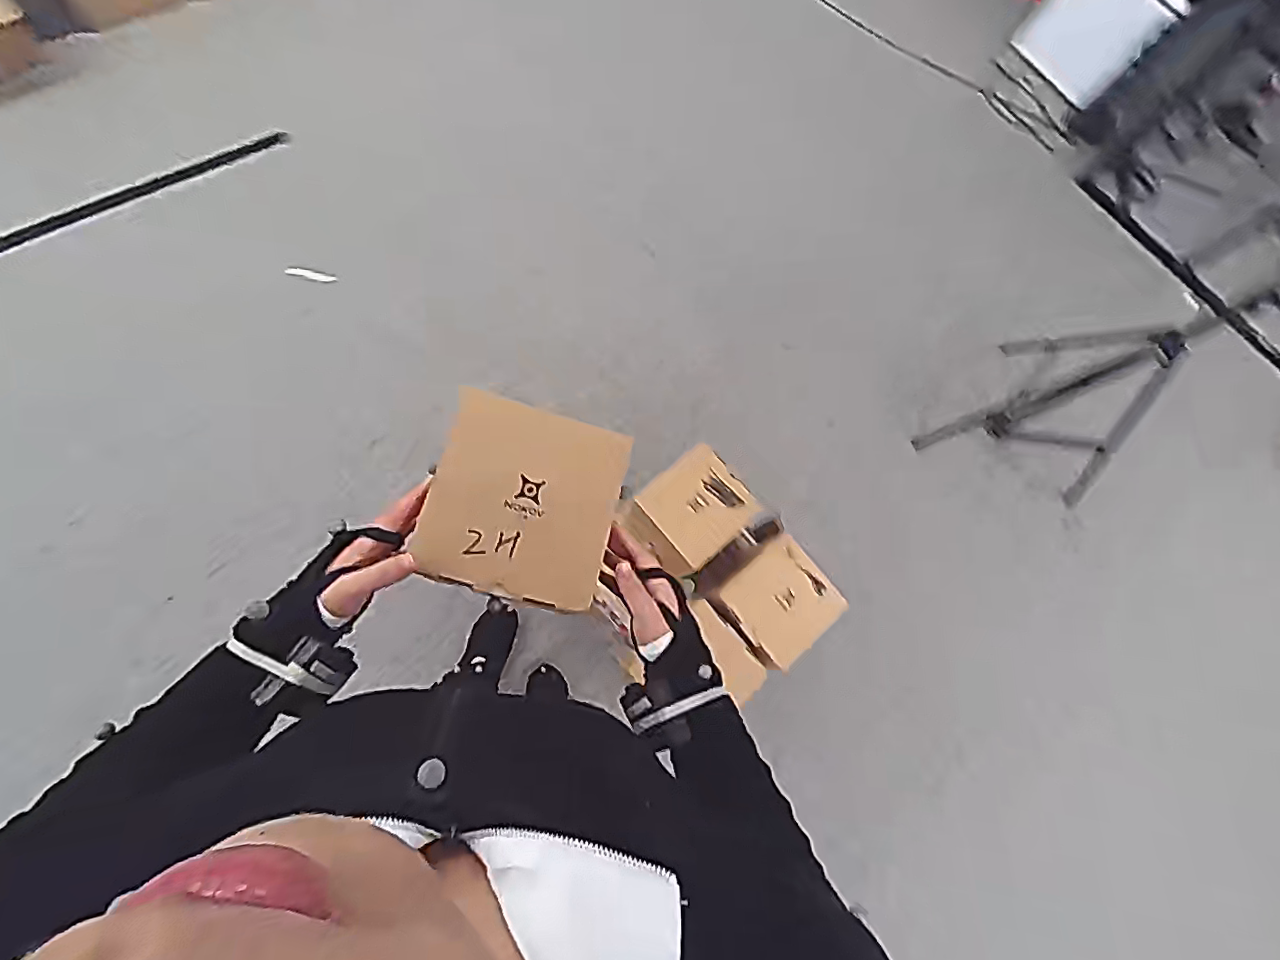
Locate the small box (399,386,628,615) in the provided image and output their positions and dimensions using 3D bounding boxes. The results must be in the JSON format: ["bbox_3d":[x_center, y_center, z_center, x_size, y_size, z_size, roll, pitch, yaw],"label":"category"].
[{"bbox_3d":[-0.125,0.034,0.558,0.168,0.176,0.179,16,74,-10],"label":"small box"}]
